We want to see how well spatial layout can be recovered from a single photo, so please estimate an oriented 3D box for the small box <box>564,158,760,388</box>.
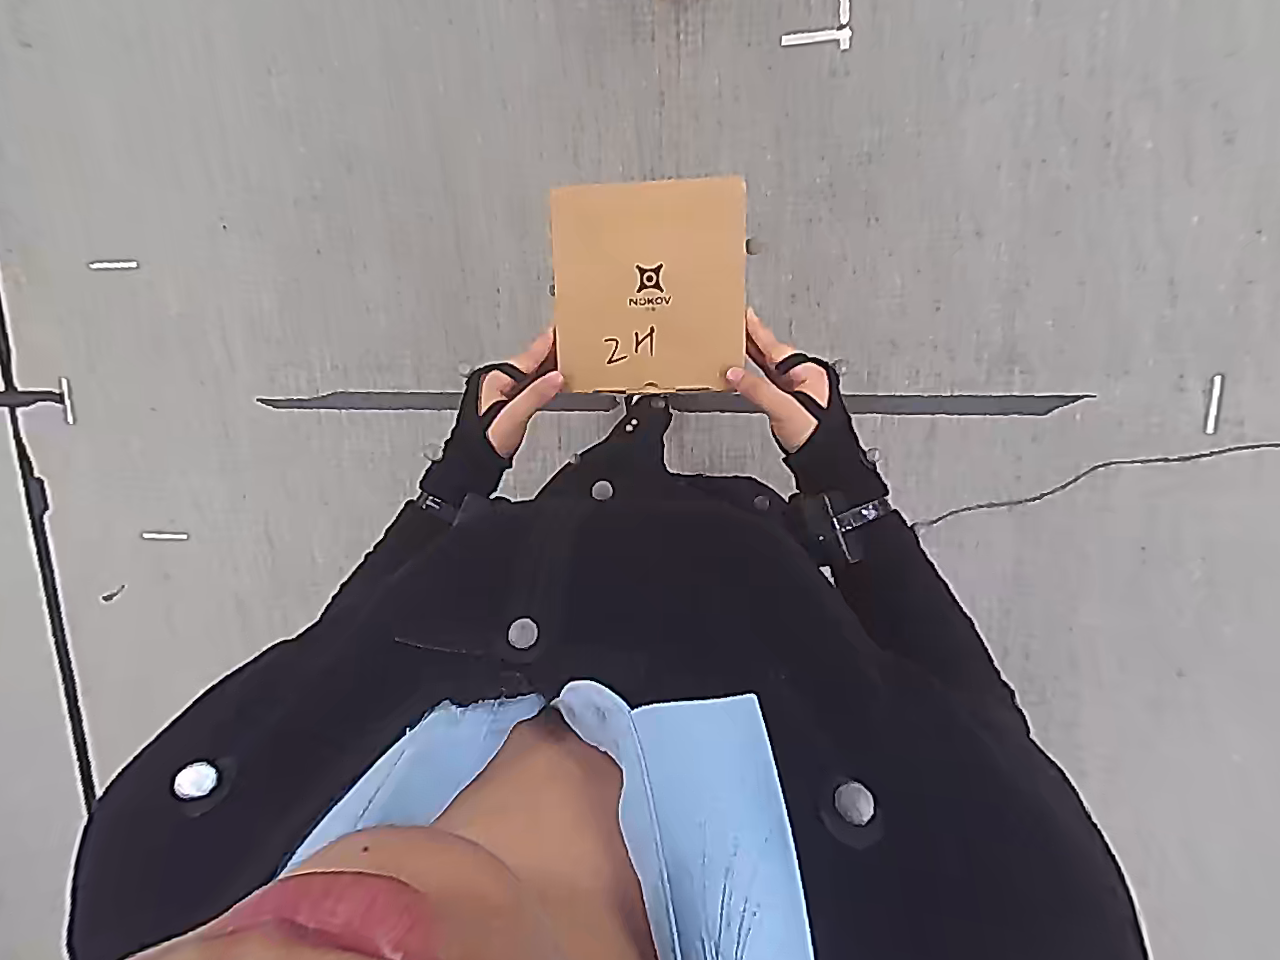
[{"bbox_3d":[0.024,-0.184,0.532,0.168,0.176,0.179,0,98,6],"label":"small box"}]
